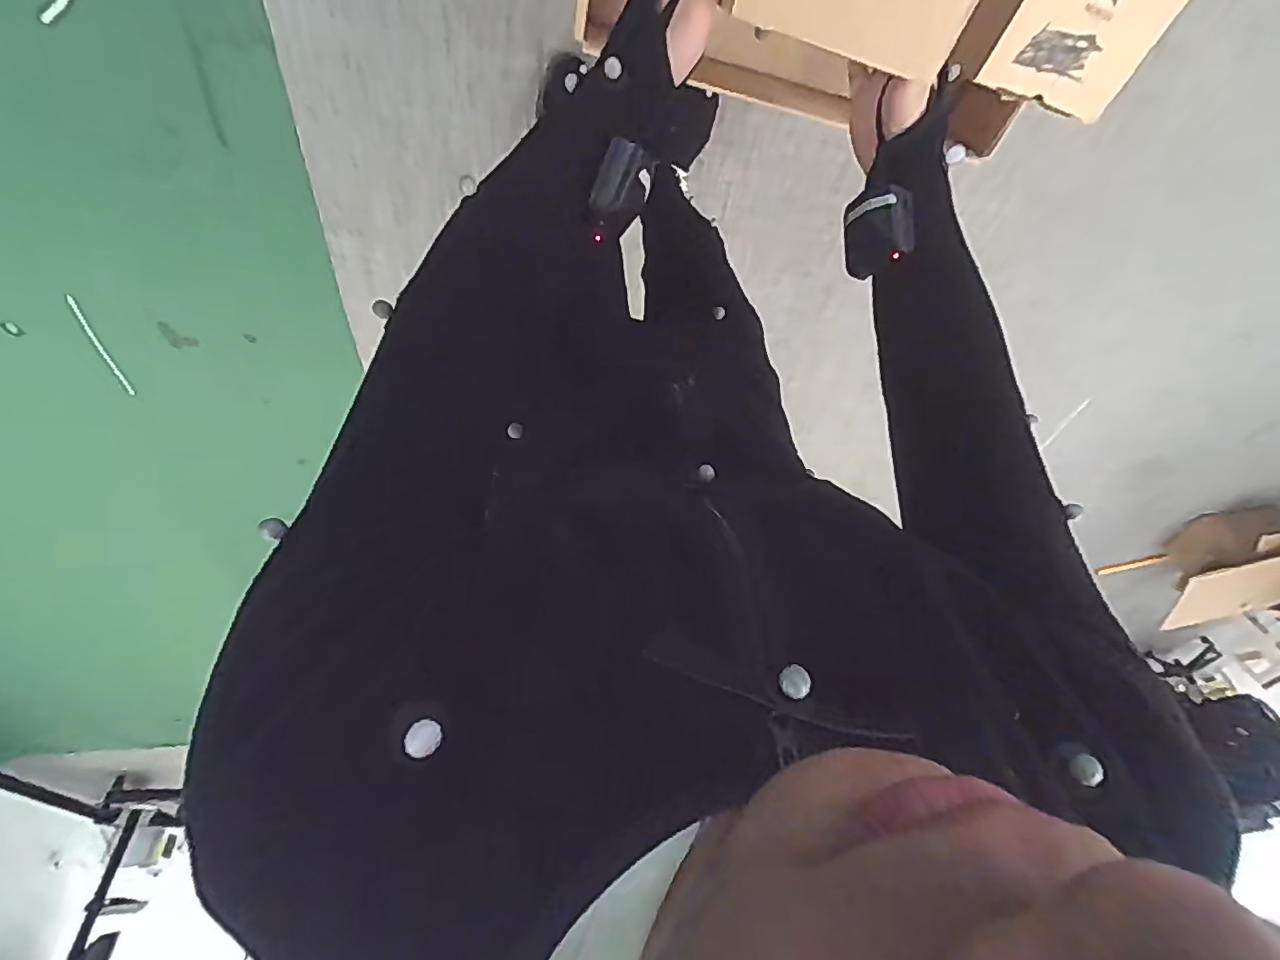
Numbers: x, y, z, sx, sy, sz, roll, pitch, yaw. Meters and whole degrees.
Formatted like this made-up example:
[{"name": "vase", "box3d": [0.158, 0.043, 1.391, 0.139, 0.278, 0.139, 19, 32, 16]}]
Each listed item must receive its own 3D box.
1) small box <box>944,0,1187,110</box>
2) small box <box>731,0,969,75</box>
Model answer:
[{"name": "small box", "box3d": [0.429, -0.519, 0.547, 0.168, 0.176, 0.179, 5, 138, -14]}, {"name": "small box", "box3d": [0.148, -0.423, 0.369, 0.168, 0.176, 0.179, 7, 137, -14]}]
